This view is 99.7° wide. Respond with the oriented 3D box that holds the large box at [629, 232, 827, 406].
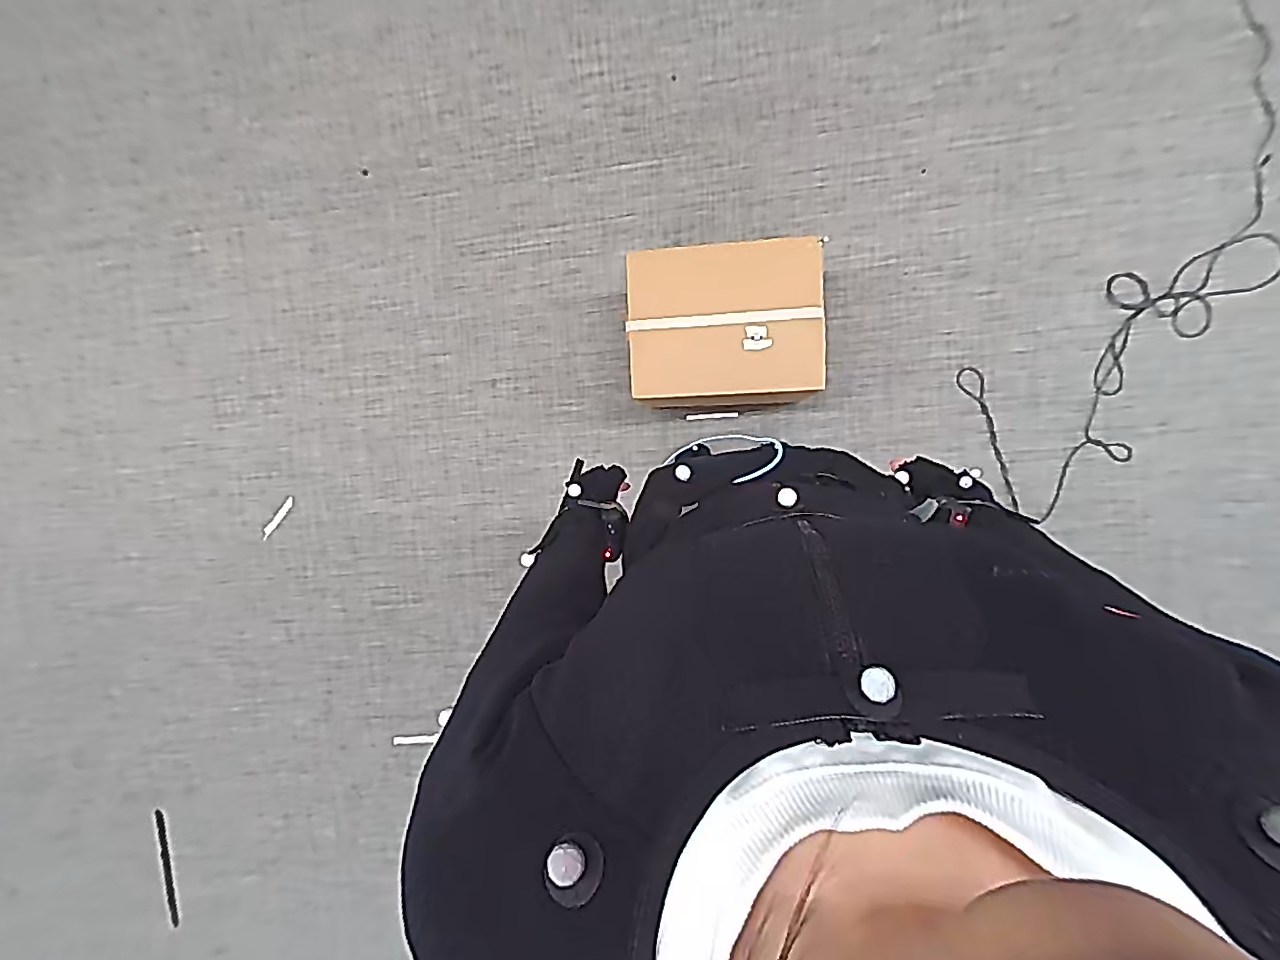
[{"bbox_3d":[0.197,-0.351,1.277,0.408,0.320,0.320,-2,94,7],"label":"large box"}]
